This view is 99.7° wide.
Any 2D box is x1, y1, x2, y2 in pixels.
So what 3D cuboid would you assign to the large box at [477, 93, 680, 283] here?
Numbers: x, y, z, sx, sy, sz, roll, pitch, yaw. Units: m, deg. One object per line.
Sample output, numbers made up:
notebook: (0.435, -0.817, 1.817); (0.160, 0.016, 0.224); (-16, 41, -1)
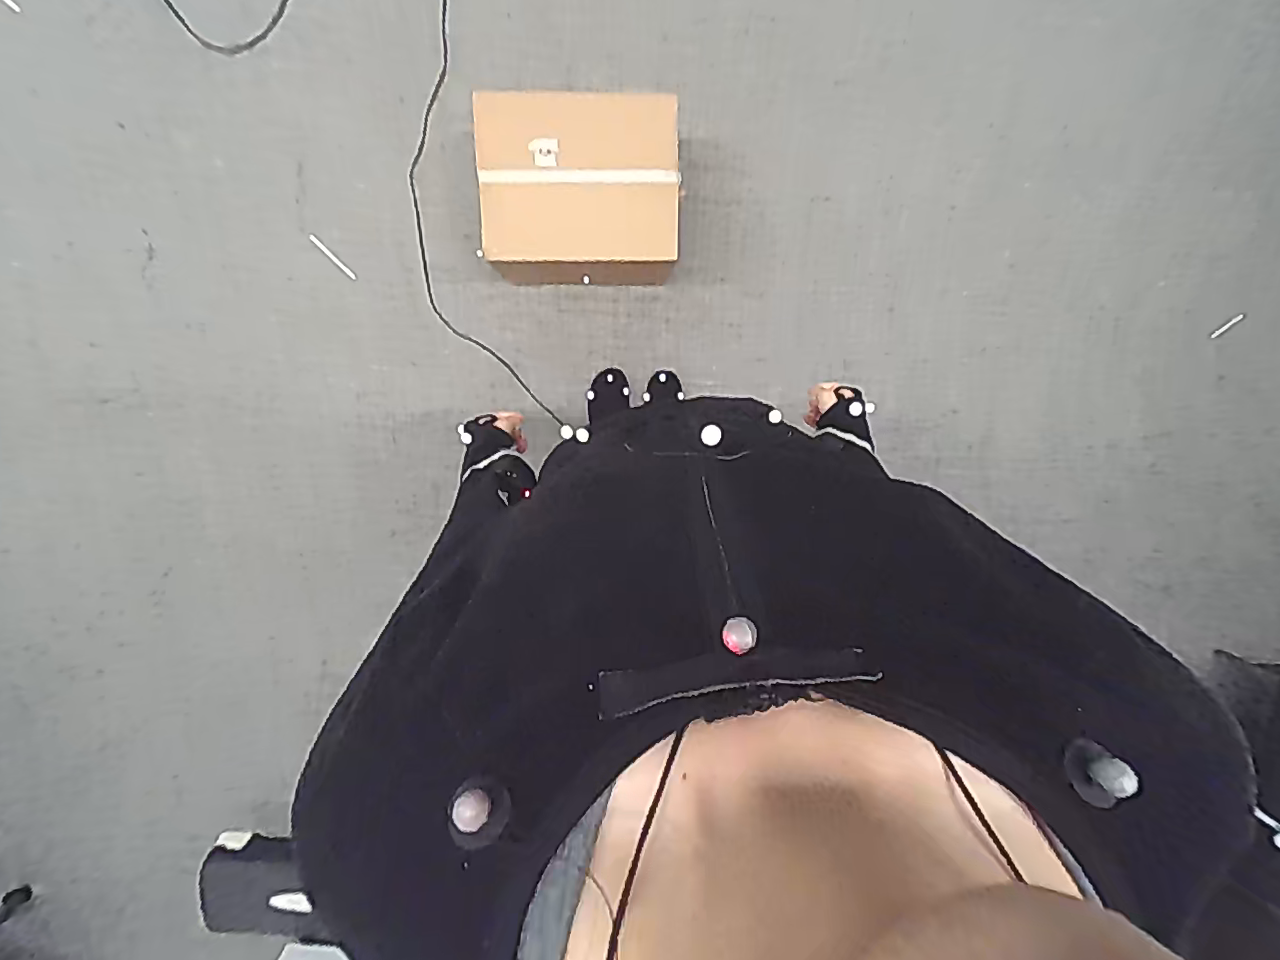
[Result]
large box: (-0.122, -0.637, 1.238); (0.408, 0.320, 0.320); (-1, 100, -1)
